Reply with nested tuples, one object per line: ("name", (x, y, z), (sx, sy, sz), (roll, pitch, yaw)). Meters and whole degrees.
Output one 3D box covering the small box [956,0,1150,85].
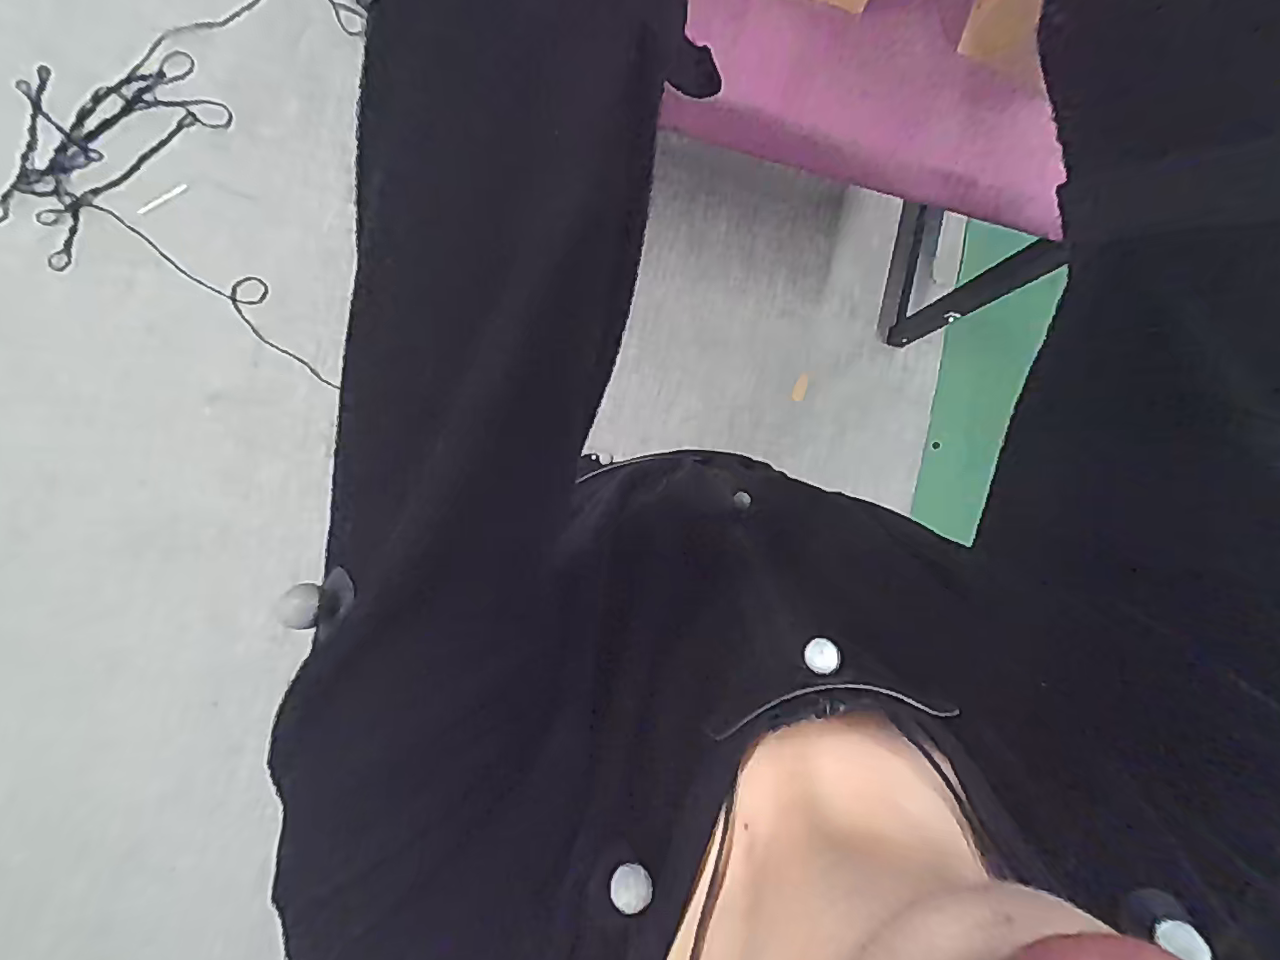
("small box", (0.607, -0.723, 0.777), (0.179, 0.176, 0.168), (23, 86, -3))
